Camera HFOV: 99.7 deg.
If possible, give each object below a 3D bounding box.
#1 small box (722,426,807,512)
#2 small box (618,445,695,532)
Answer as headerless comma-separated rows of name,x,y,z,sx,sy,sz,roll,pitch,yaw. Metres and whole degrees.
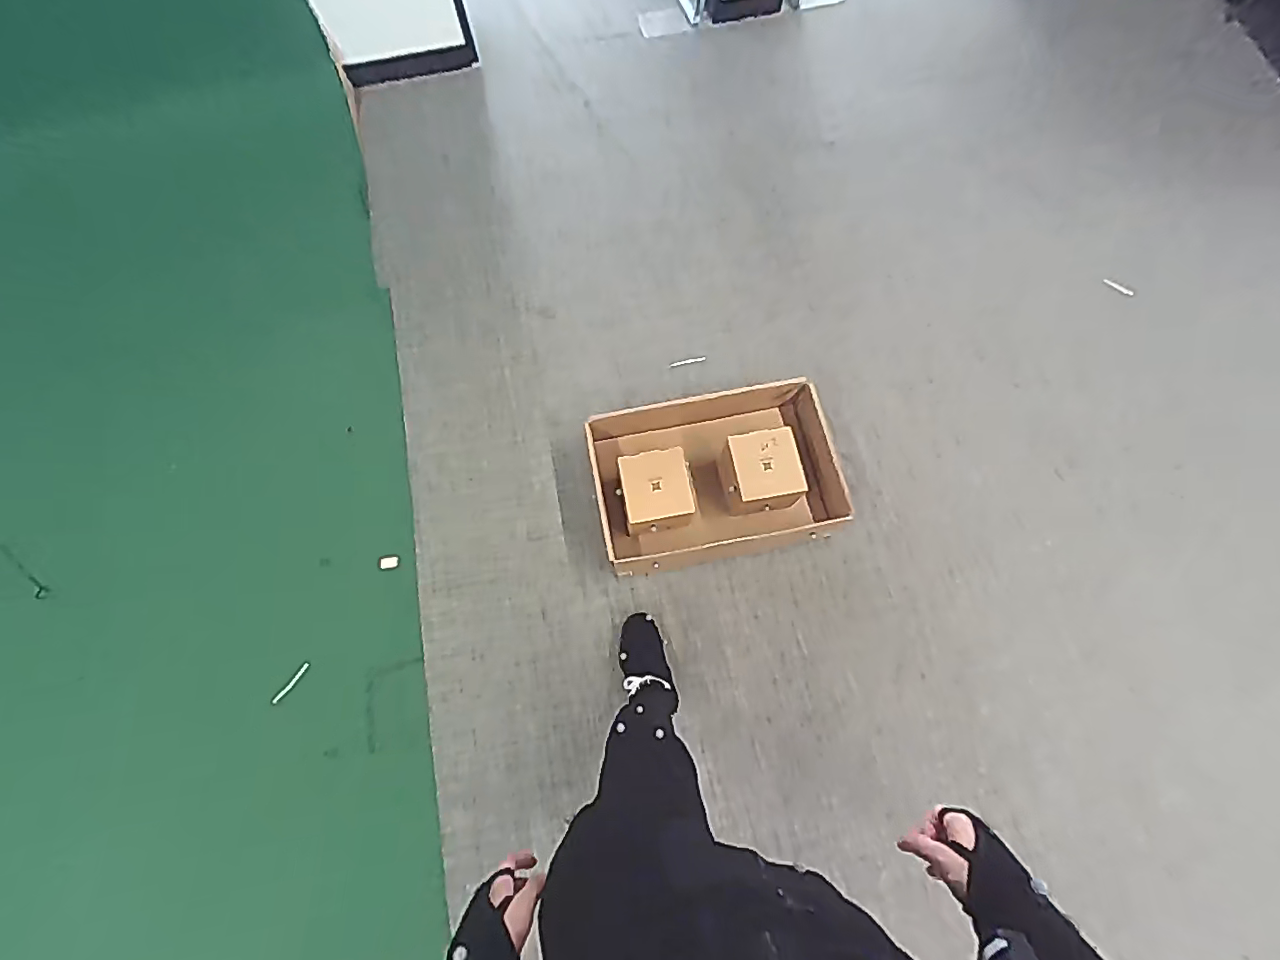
small box,0.318,-0.021,1.411,0.168,0.176,0.179,-9,73,-2
small box,0.041,0.031,1.397,0.168,0.176,0.179,-10,71,-3
